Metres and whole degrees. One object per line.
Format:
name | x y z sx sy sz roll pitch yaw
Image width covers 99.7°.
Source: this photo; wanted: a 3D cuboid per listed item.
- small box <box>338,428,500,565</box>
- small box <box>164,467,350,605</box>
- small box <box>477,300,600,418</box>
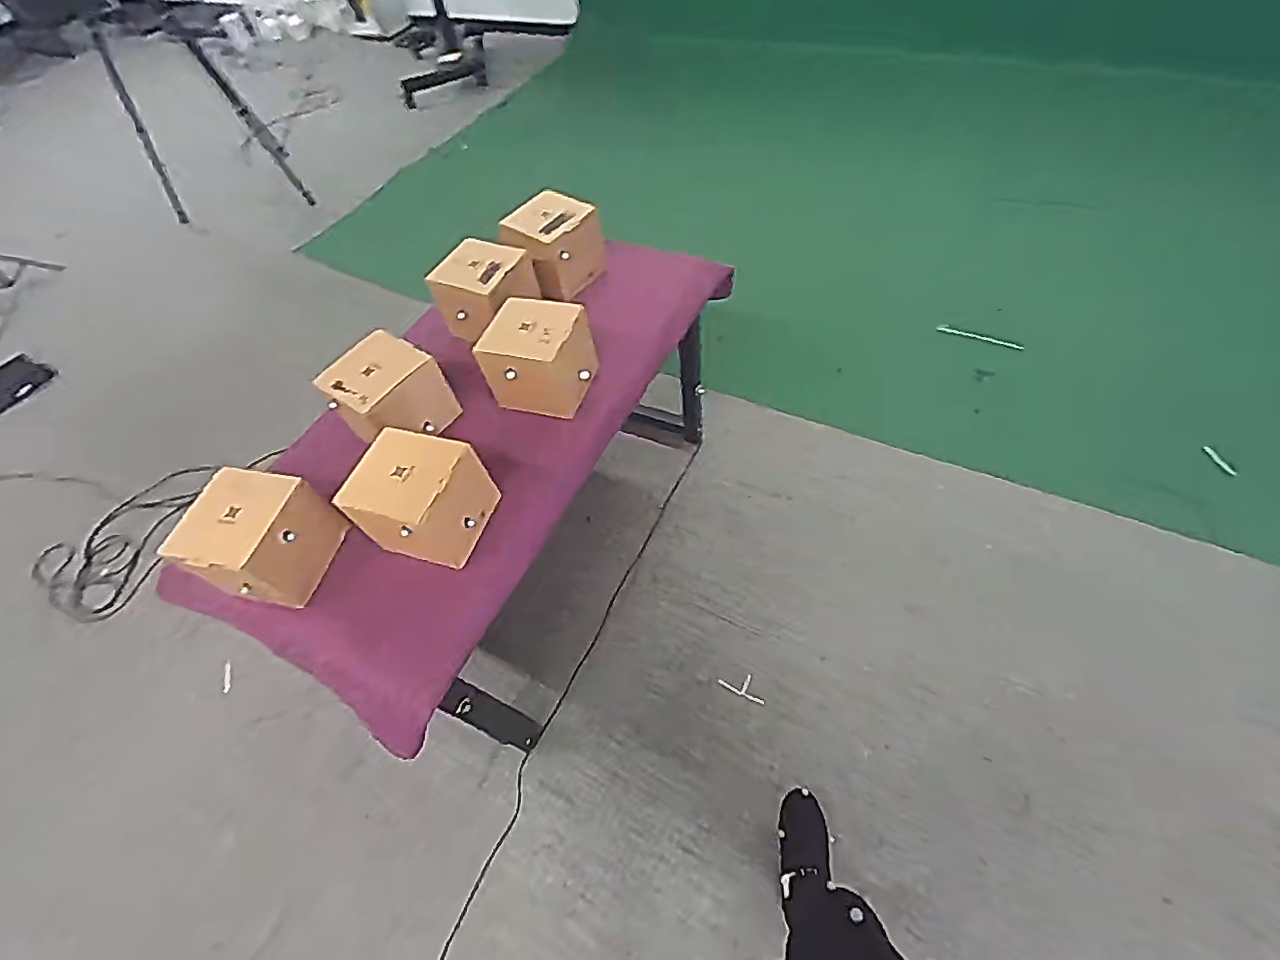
small box | -0.382 0.033 0.968 0.179 0.176 0.168 12 58 15
small box | -0.658 0.103 0.957 0.168 0.176 0.179 8 57 11
small box | -0.203 -0.251 1.134 0.179 0.176 0.168 13 59 17
